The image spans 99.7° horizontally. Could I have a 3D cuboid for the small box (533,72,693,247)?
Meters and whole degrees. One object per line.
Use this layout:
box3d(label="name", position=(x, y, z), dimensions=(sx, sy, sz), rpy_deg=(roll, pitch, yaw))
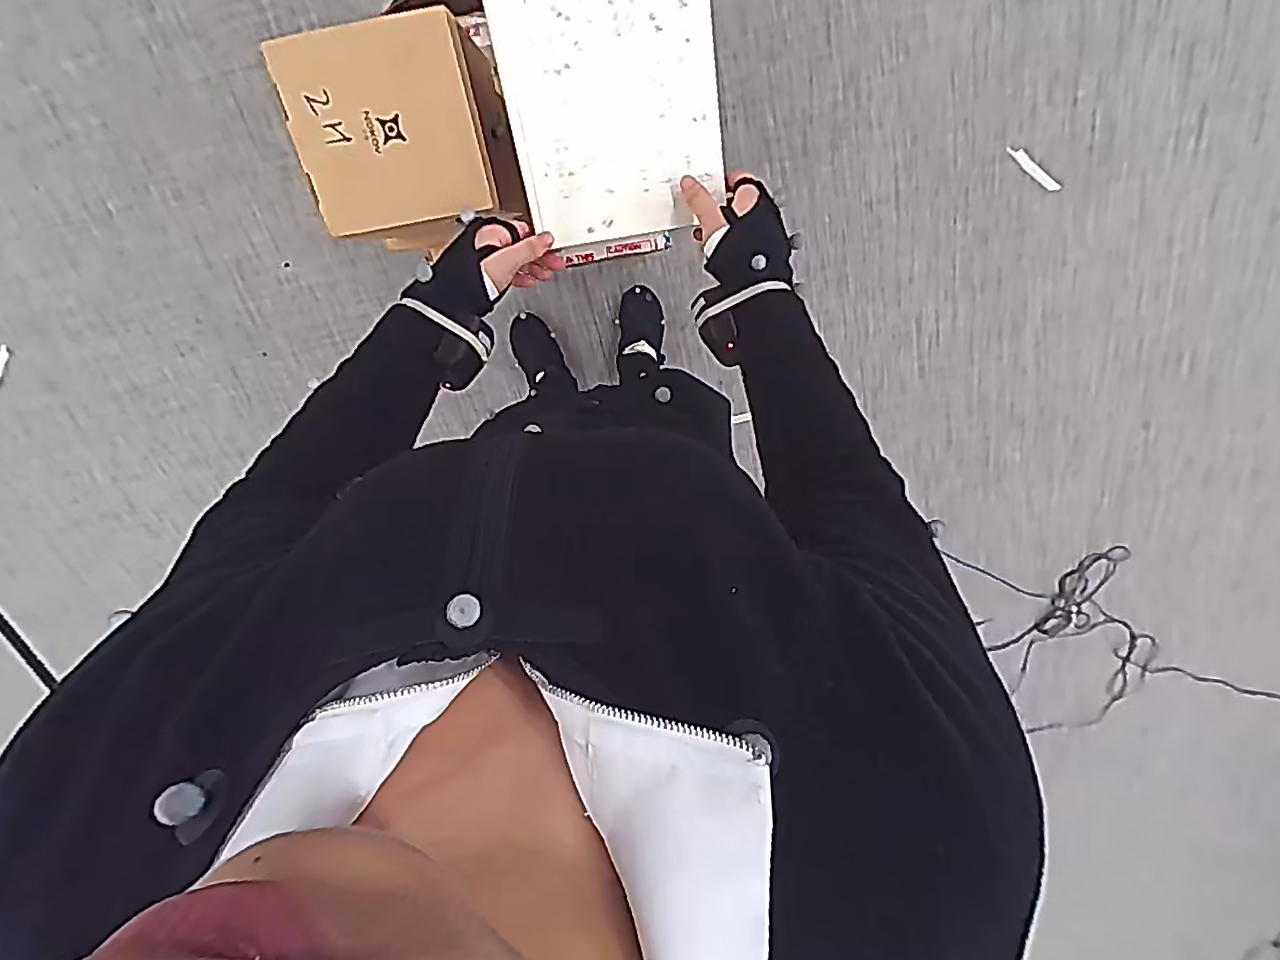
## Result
box3d(label="small box", position=(-0.035, -0.435, 0.759), dimensions=(0.179, 0.176, 0.168), rpy_deg=(-13, 113, 3))

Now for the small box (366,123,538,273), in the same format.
box3d(label="small box", position=(-0.248, -0.394, 0.770), dimensions=(0.179, 0.176, 0.168), rpy_deg=(-4, 114, 2))
